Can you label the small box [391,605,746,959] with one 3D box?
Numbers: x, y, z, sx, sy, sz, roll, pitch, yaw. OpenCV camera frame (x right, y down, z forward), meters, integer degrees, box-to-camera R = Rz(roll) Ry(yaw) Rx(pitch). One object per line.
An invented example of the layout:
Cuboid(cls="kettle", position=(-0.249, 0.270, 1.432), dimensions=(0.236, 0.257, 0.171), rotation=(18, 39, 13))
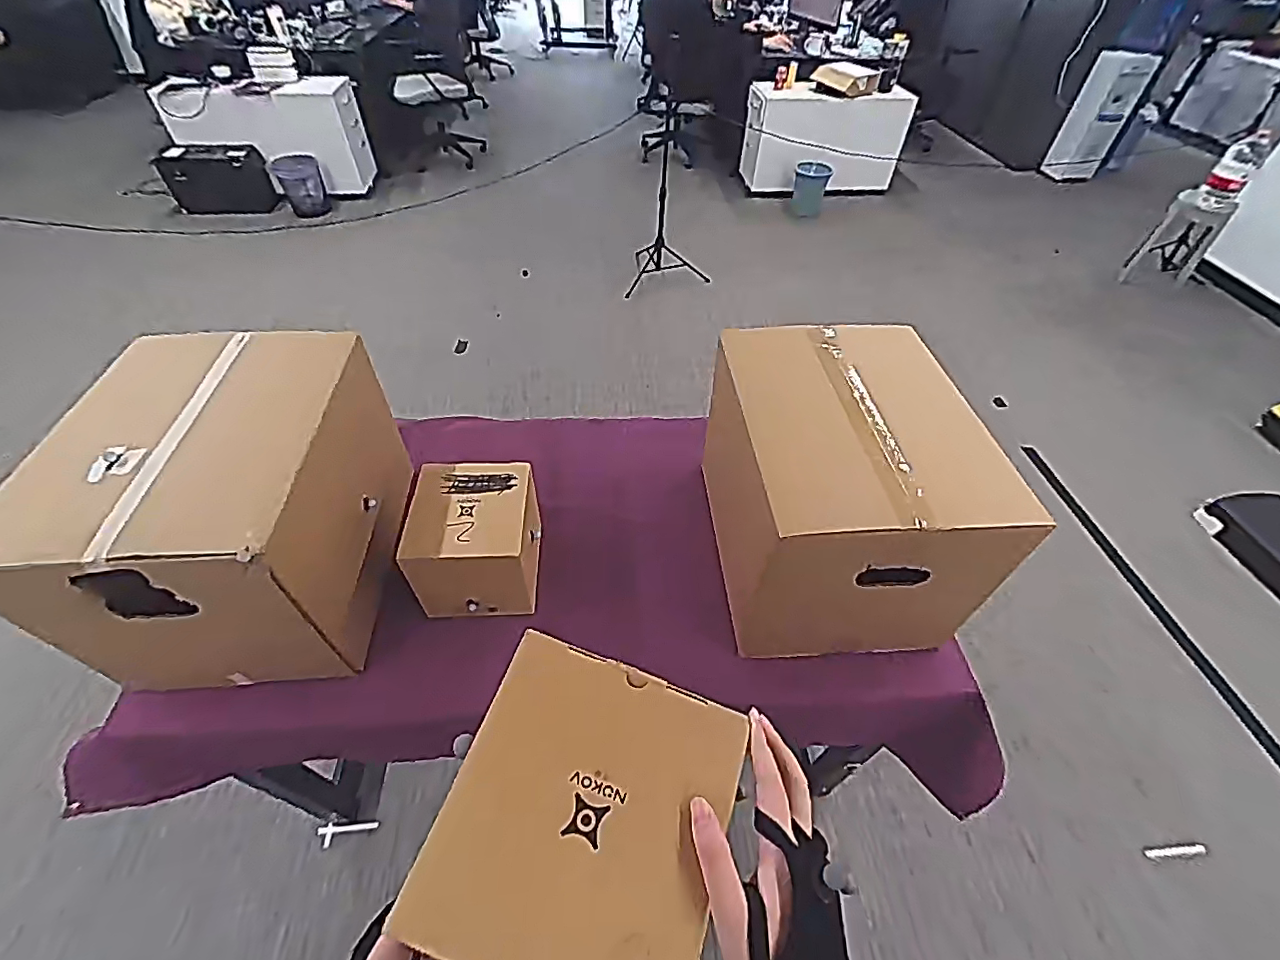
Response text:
Cuboid(cls="small box", position=(-0.026, 0.208, 0.363), dimensions=(0.179, 0.176, 0.168), rotation=(5, 34, 17))
